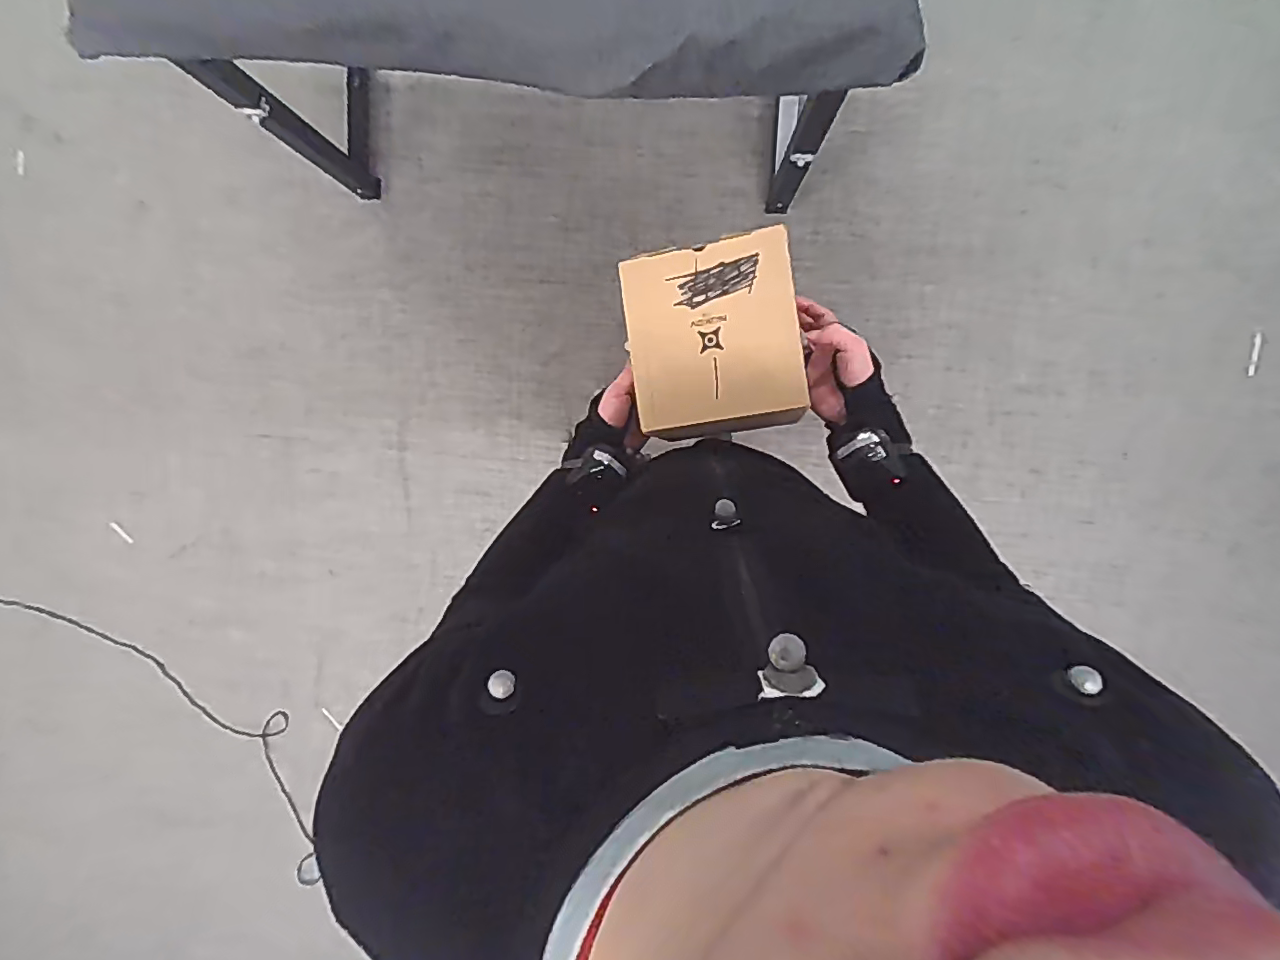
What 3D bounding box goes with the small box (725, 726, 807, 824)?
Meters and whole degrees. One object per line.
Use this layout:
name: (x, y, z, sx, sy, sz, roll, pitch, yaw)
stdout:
small box: (0.360, 0.850, 1.576, 0.179, 0.176, 0.168, 16, 95, 1)
